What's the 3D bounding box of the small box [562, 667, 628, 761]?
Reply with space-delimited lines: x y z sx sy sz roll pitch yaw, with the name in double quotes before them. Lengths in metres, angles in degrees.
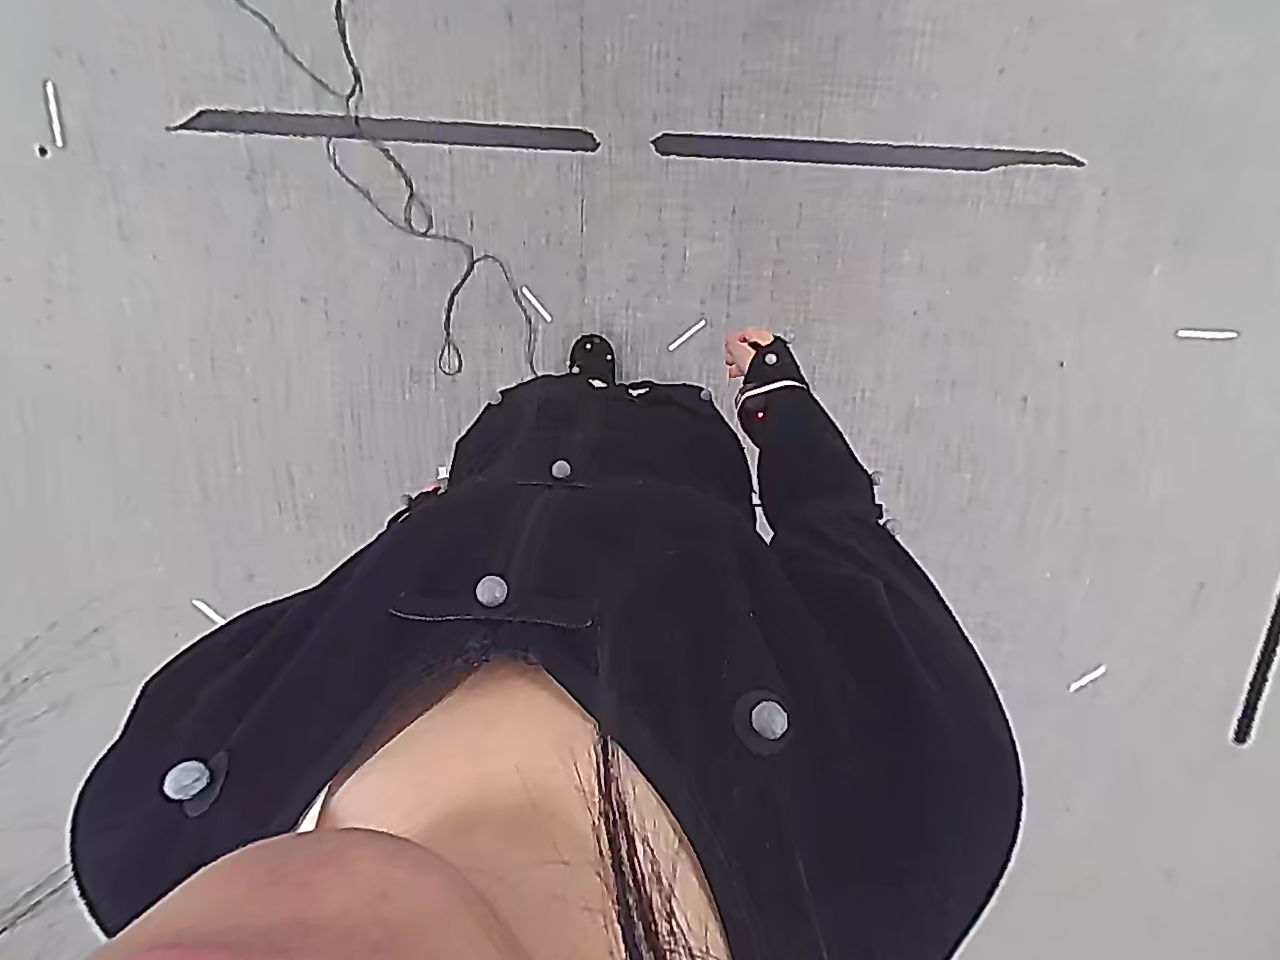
"small box" -0.121 0.649 1.511 0.168 0.176 0.179 -4 103 0
